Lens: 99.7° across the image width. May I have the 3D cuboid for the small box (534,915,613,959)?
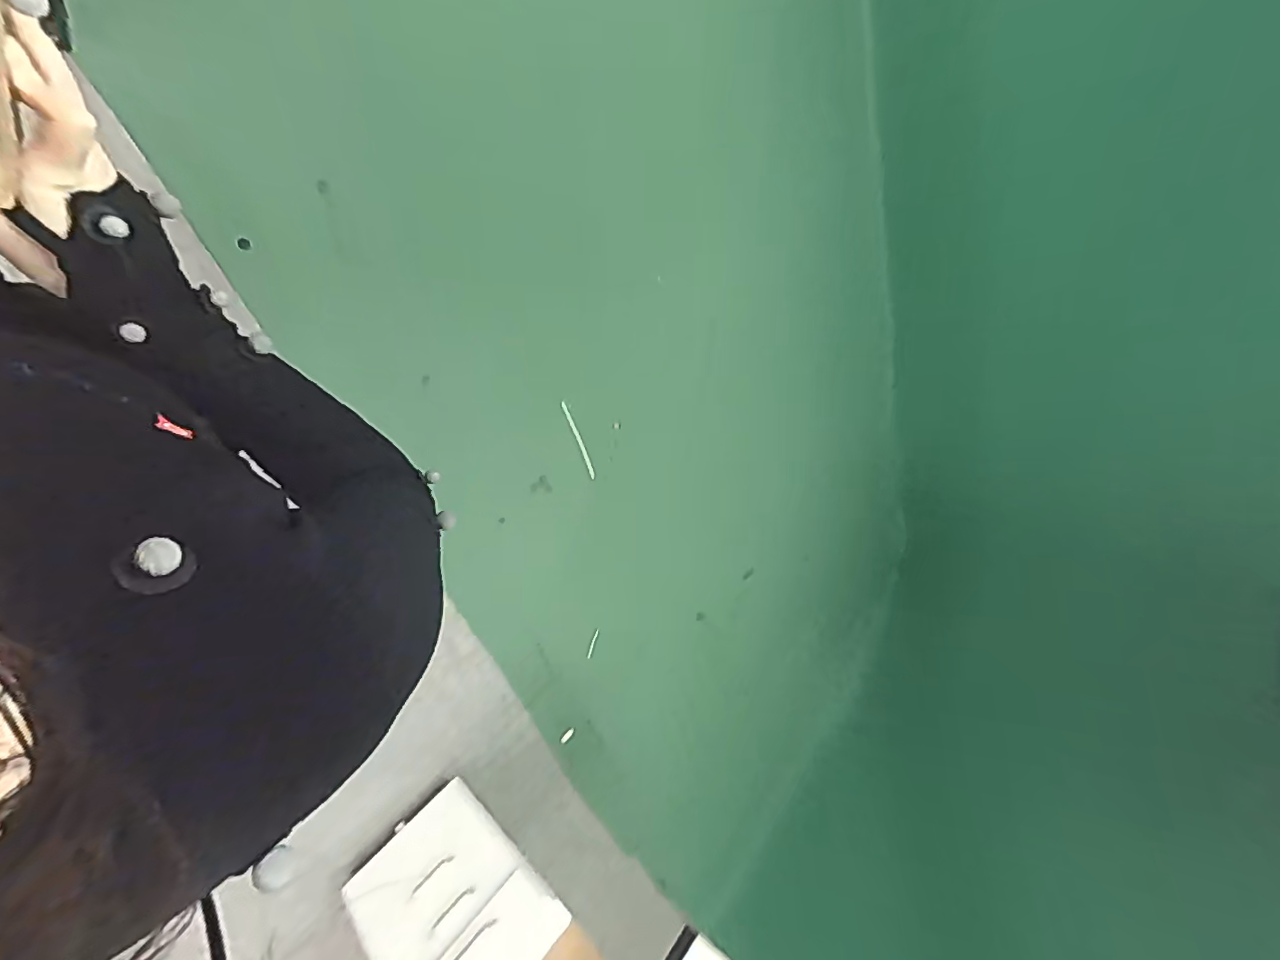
[{"bbox_3d":[-0.160,1.262,1.363,0.179,0.176,0.168,-40,126,-31],"label":"small box"}]
